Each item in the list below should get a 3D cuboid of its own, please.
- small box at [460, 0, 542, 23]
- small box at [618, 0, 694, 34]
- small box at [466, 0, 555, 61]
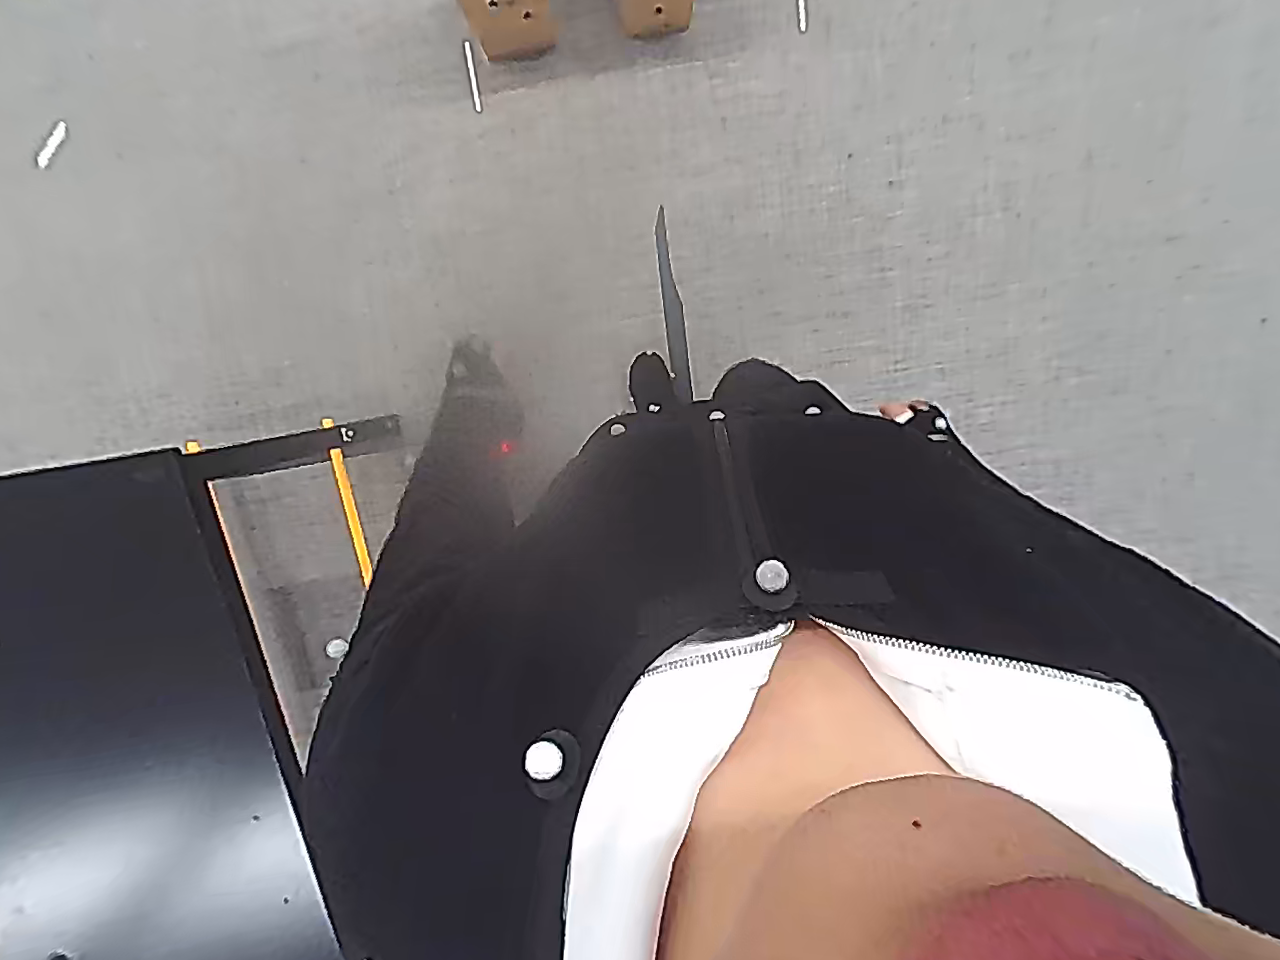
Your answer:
[{"bbox_3d":[-0.299,-1.047,1.048,0.168,0.176,0.179,-9,102,5],"label":"small box"},{"bbox_3d":[0.031,-1.129,1.193,0.168,0.176,0.179,-7,102,2],"label":"small box"},{"bbox_3d":[-0.294,-1.085,1.206,0.179,0.176,0.168,-10,101,4],"label":"small box"}]
